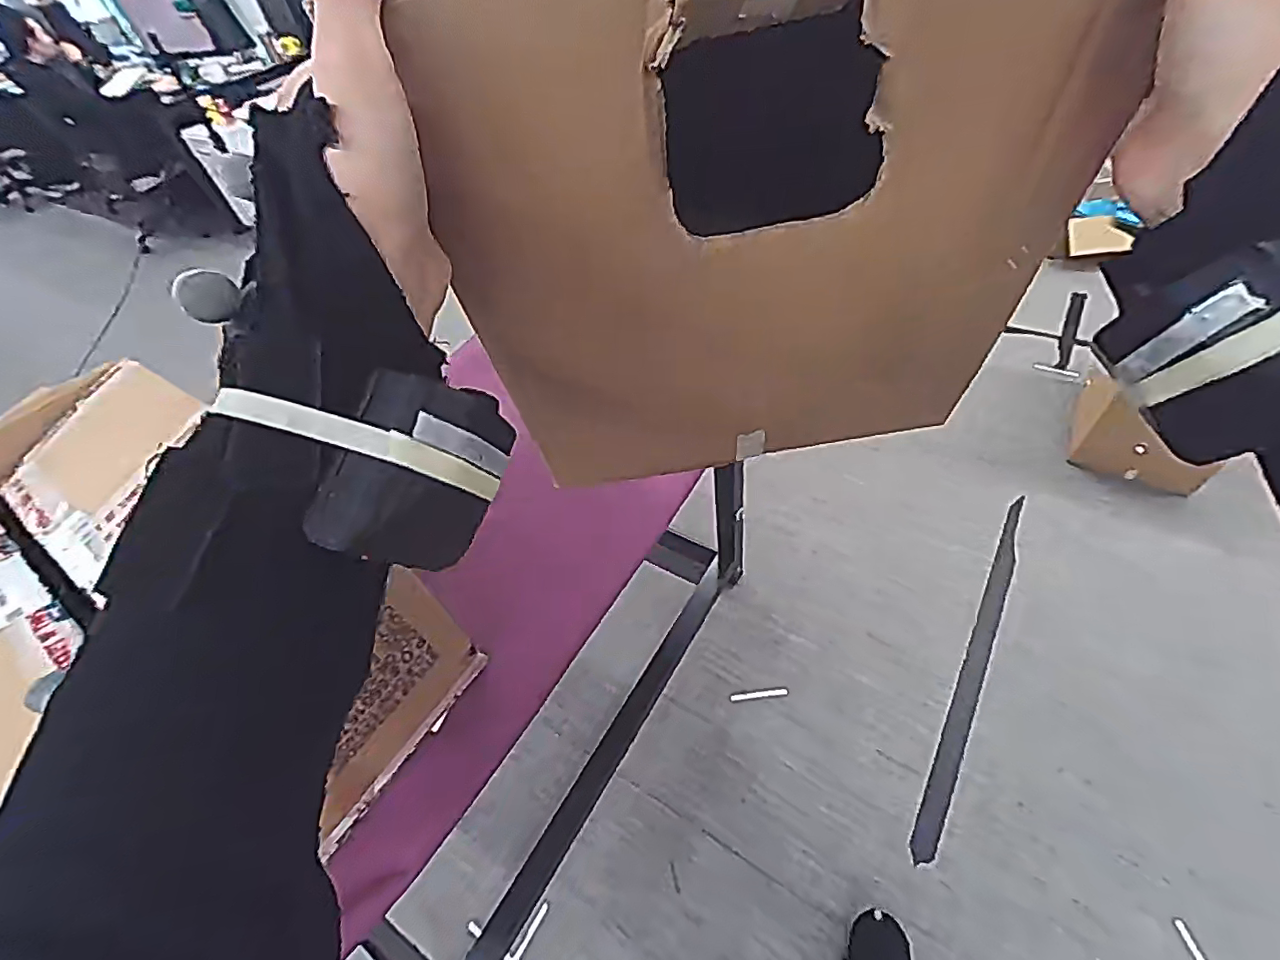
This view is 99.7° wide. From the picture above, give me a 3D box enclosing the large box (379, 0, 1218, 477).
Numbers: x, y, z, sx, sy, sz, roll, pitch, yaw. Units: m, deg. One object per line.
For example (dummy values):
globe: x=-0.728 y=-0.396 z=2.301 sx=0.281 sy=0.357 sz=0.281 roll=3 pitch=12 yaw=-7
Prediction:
large box: x=0.053 y=-0.266 z=0.398 sx=0.320 sy=0.320 sz=0.408 roll=-11 pitch=59 yaw=3
